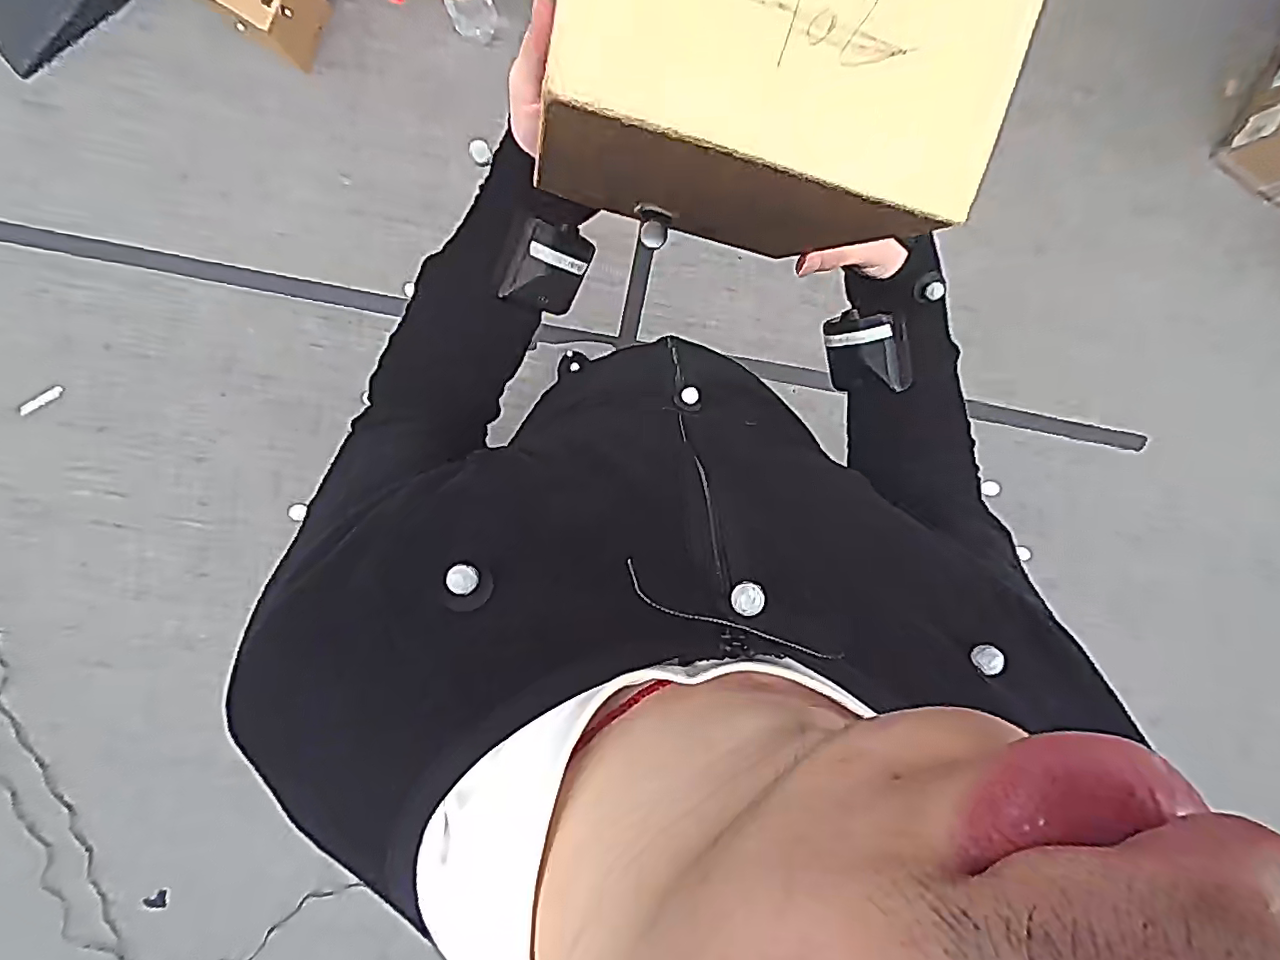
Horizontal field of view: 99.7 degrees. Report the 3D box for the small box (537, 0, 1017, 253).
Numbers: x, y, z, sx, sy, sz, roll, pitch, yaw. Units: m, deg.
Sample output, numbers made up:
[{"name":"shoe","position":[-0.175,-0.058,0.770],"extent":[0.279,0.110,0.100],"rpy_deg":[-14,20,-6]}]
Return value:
[{"name":"small box","position":[0.047,-0.222,0.254],"extent":[0.168,0.176,0.179],"rpy_deg":[9,106,-15]}]
